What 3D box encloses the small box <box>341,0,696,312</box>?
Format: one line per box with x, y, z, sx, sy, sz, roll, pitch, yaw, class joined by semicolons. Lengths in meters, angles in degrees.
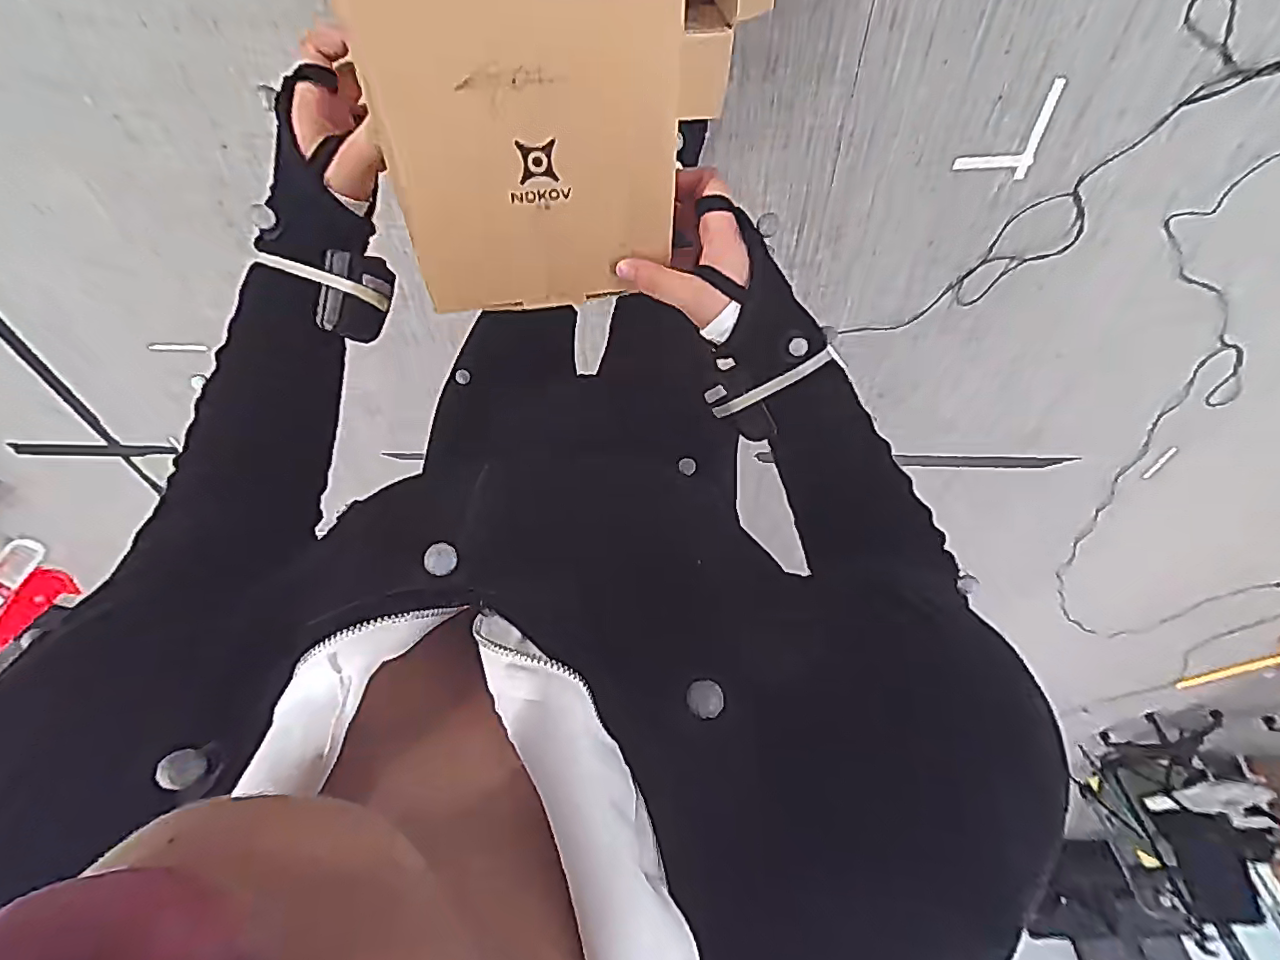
-0.071;-0.237;0.354;0.168;0.176;0.179;-9;140;-9;small box
